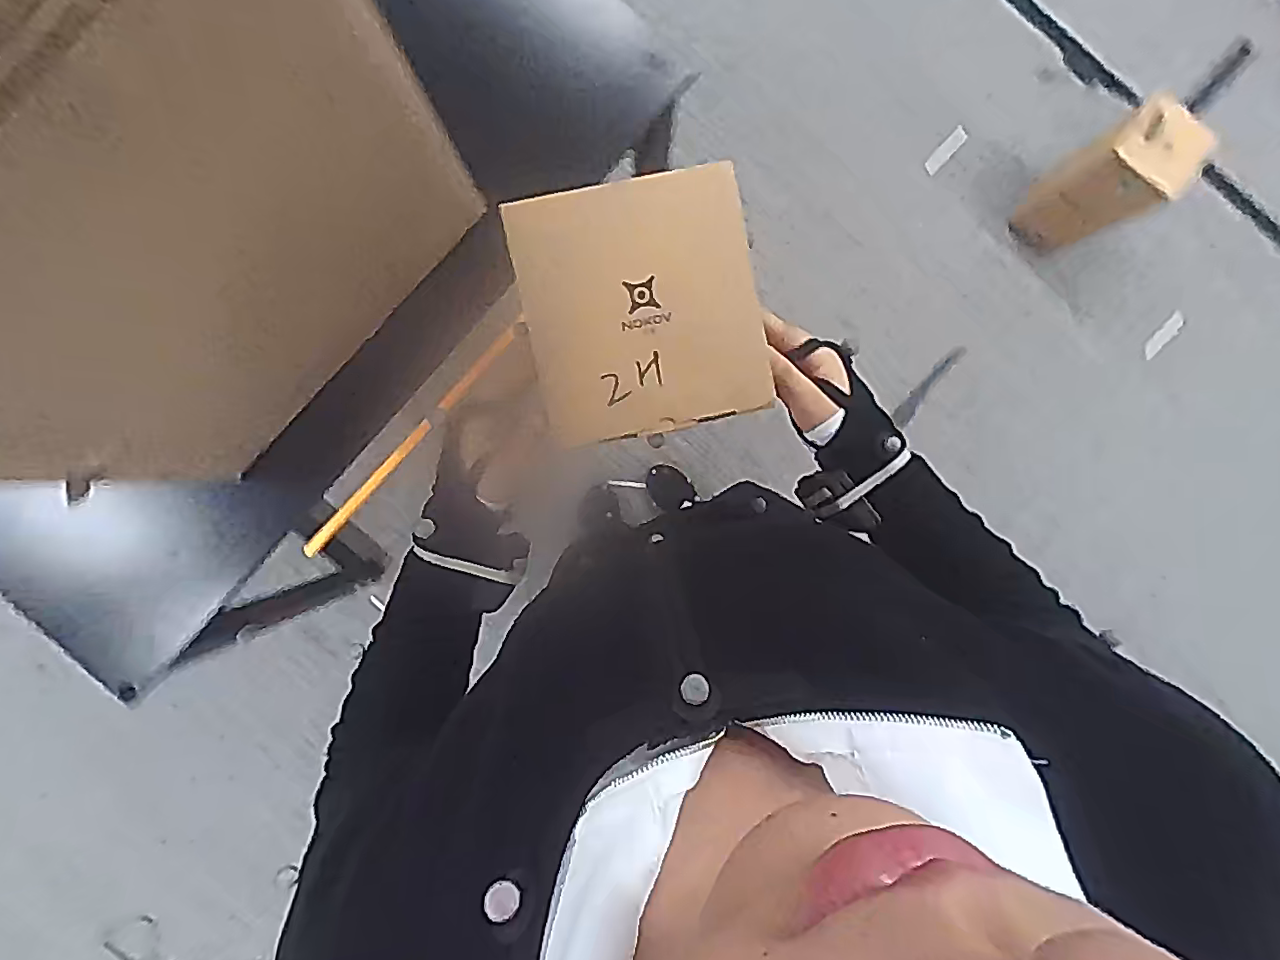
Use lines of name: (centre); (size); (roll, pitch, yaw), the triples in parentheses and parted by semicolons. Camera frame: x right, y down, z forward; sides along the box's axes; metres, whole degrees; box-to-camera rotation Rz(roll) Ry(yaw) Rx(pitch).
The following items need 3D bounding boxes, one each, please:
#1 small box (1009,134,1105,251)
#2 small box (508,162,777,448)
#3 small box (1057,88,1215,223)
small box: (1.126, -0.743, 1.418); (0.168, 0.176, 0.179); (35, 92, 0)
small box: (-0.001, -0.127, 0.455); (0.168, 0.176, 0.179); (-11, 96, -1)
small box: (1.133, -0.738, 1.253); (0.179, 0.176, 0.168); (37, 91, -1)
